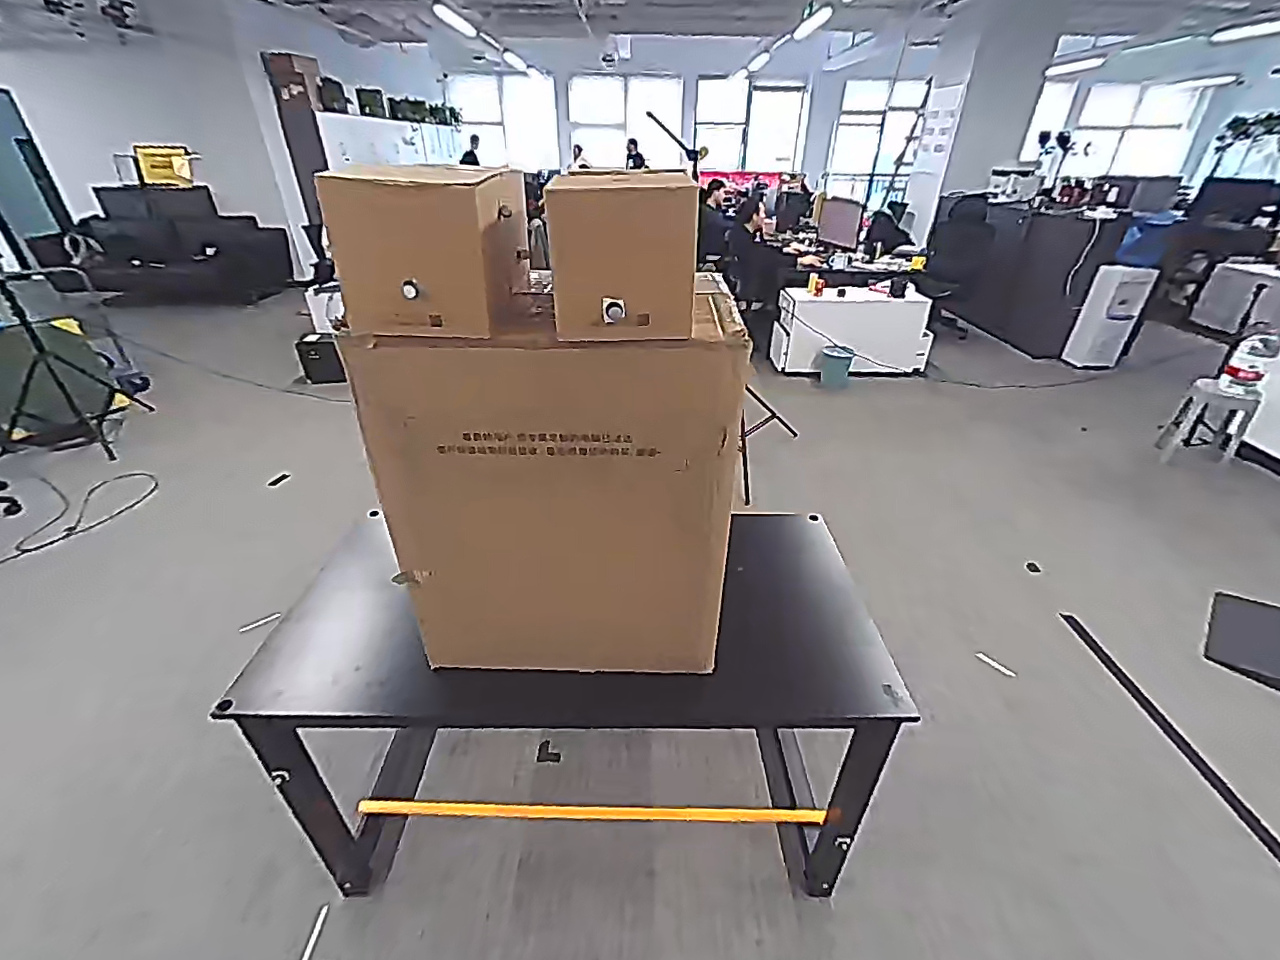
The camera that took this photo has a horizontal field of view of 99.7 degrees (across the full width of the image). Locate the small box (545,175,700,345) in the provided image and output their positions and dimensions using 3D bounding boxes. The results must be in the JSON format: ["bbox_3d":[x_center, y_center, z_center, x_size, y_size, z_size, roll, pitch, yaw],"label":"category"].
[{"bbox_3d":[-0.022,-0.278,0.676,0.168,0.176,0.179,-4,34,-3],"label":"small box"}]
